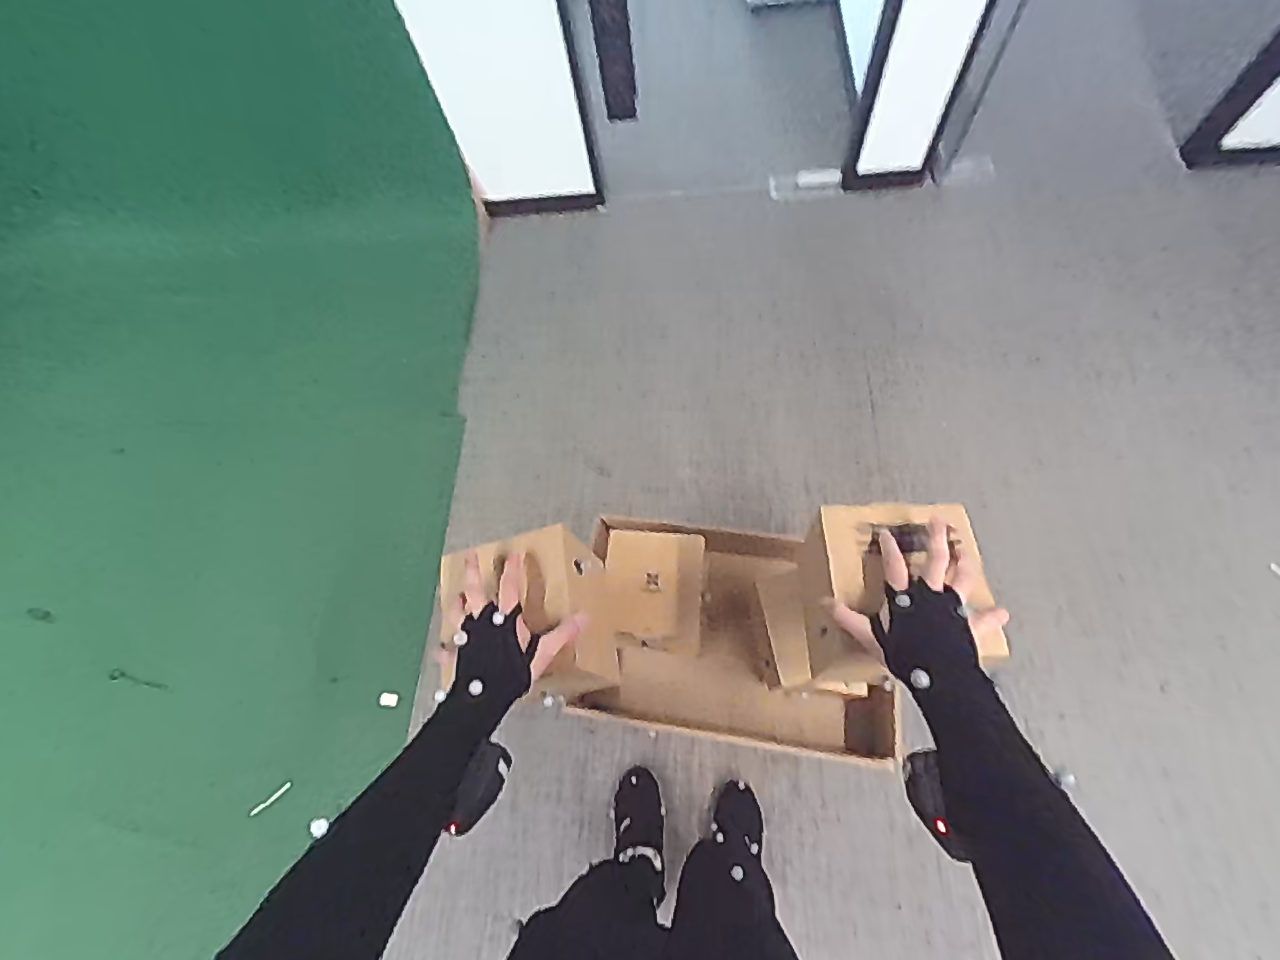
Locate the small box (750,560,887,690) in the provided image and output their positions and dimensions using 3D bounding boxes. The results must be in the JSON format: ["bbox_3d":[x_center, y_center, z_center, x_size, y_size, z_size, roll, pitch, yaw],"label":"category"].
[{"bbox_3d":[0.288,0.253,0.915,0.168,0.176,0.179,-10,64,2],"label":"small box"}]

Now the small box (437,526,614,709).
[{"bbox_3d":[-0.143,0.186,0.705,0.168,0.176,0.179,-17,61,9],"label":"small box"}]

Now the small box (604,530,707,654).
[{"bbox_3d":[0.031,0.205,0.971,0.168,0.176,0.179,3,66,9],"label":"small box"}]
